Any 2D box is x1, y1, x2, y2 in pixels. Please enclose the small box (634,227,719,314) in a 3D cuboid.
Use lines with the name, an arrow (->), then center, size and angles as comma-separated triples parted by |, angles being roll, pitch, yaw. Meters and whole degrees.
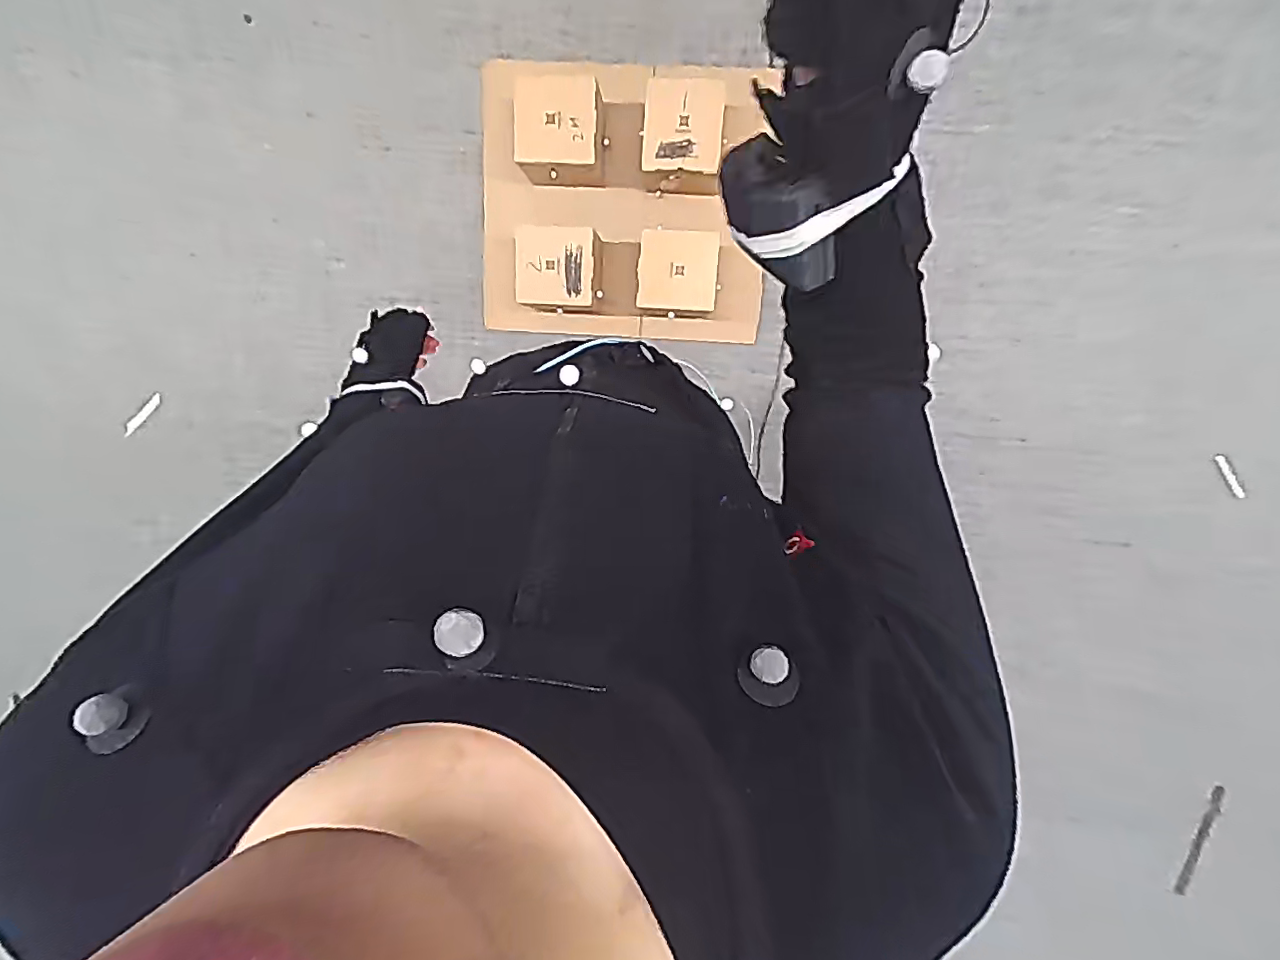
small box -> 0.086, -0.484, 1.270 | 0.179, 0.176, 0.168 | 5, 103, 4
